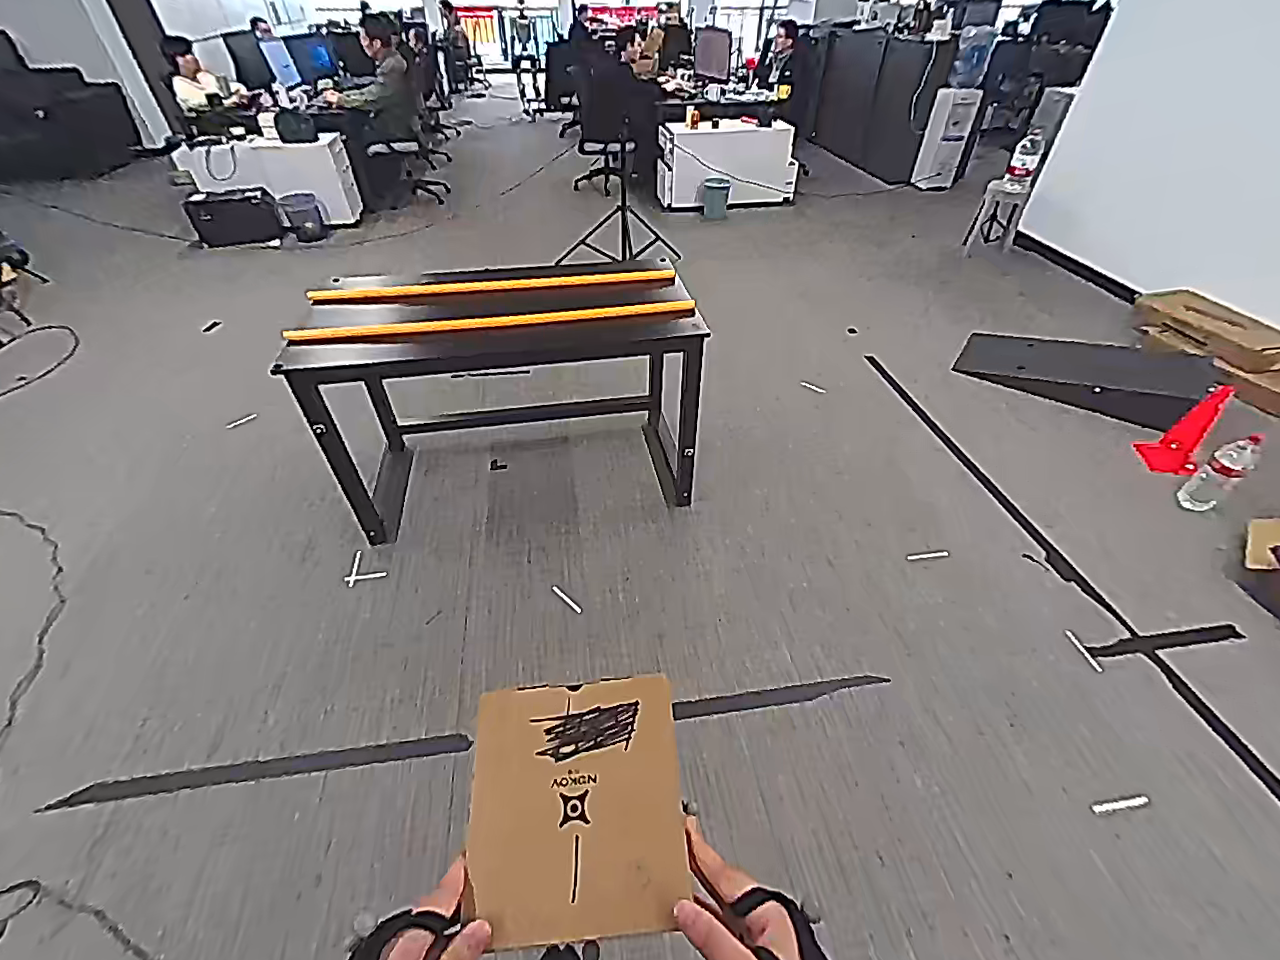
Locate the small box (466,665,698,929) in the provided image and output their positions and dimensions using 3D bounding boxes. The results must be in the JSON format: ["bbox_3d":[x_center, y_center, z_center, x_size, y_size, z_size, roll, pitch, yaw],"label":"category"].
[{"bbox_3d":[-0.042,0.289,0.491,0.168,0.176,0.179,-6,51,0],"label":"small box"}]
